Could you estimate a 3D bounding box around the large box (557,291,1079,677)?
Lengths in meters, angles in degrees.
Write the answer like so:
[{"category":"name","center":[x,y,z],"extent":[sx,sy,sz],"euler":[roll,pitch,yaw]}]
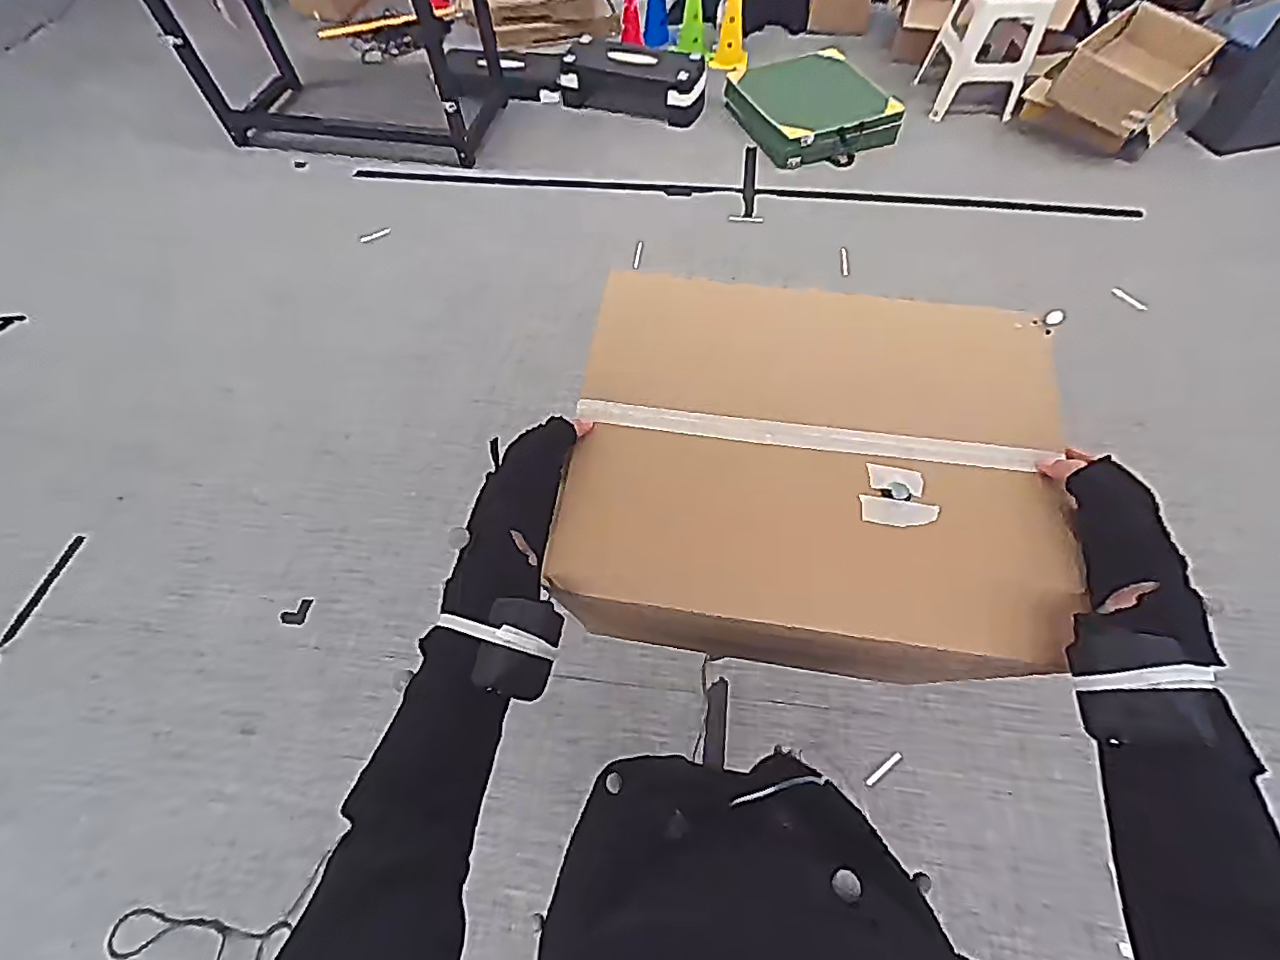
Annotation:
[{"category":"large box","center":[0.150,0.029,0.604],"extent":[0.408,0.320,0.320],"euler":[7,69,4]}]
